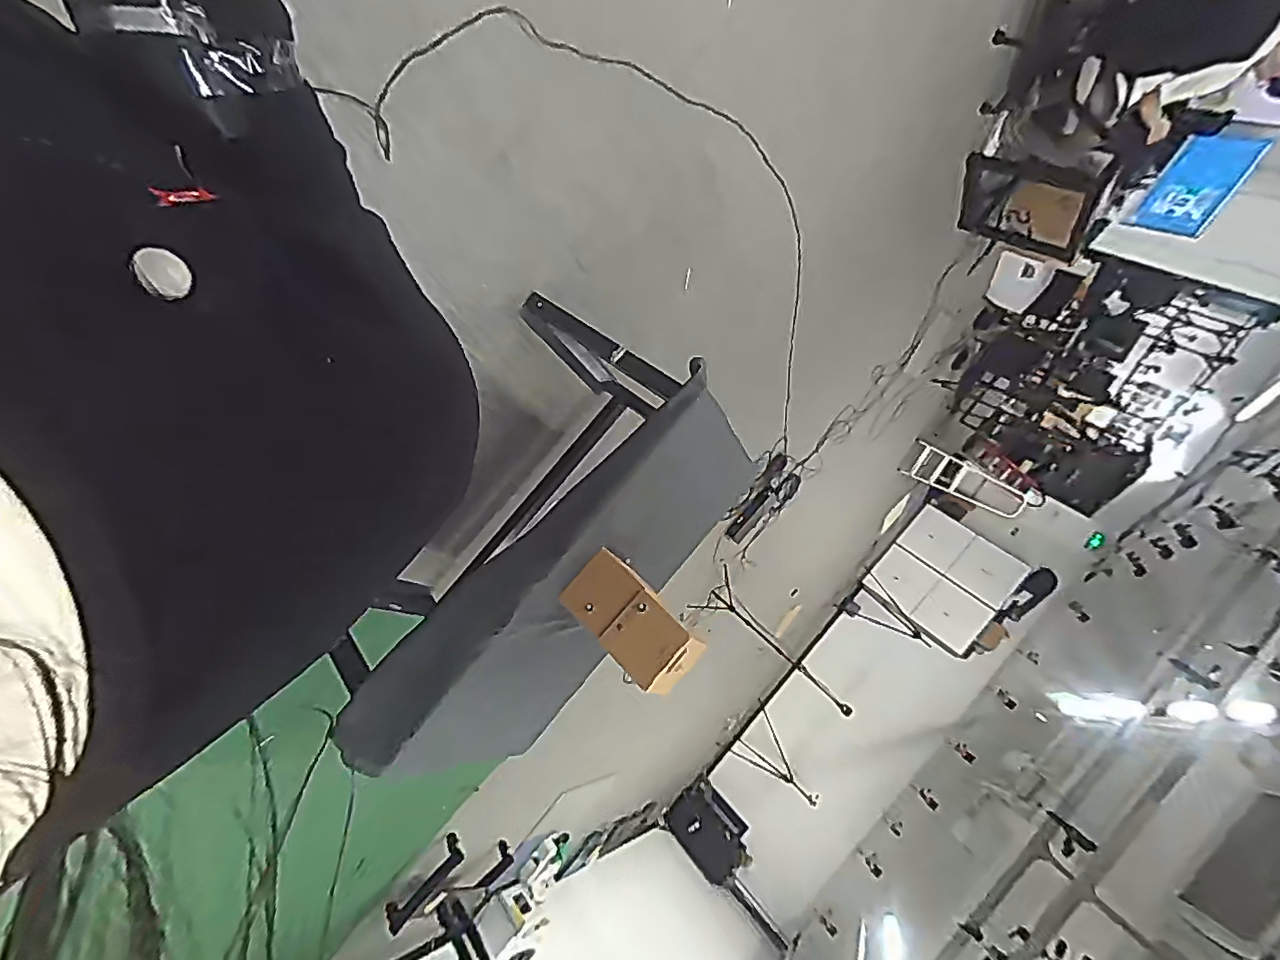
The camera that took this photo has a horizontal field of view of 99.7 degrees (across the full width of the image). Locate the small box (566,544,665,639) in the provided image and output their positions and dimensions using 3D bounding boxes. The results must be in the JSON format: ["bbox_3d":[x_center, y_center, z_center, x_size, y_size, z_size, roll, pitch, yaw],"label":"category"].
[{"bbox_3d":[-0.069,0.299,1.406,0.179,0.176,0.168,-50,150,-4],"label":"small box"}]

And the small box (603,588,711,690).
[{"bbox_3d":[0.040,0.385,1.318,0.168,0.176,0.179,-50,149,-1],"label":"small box"}]
